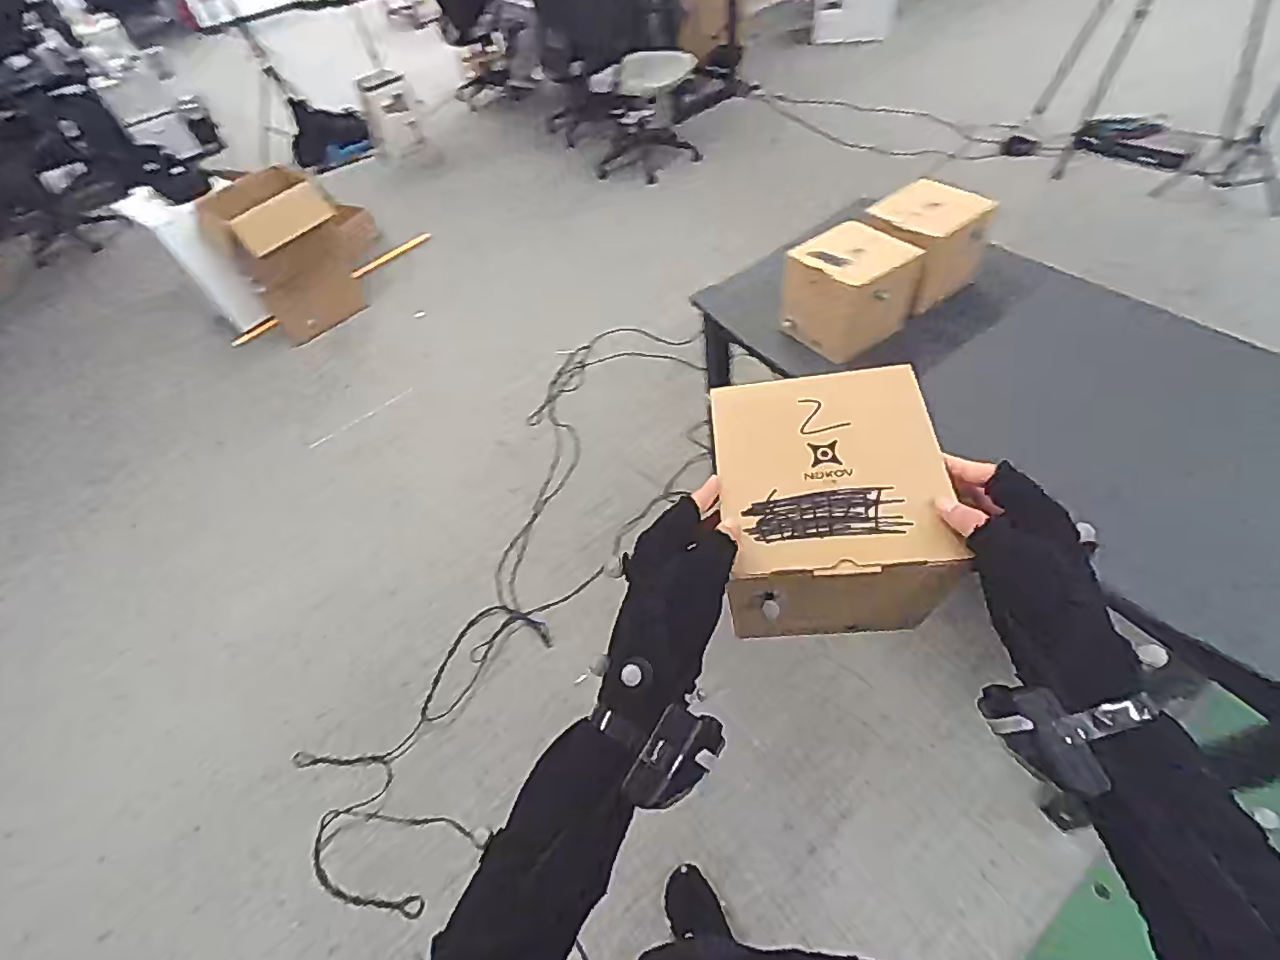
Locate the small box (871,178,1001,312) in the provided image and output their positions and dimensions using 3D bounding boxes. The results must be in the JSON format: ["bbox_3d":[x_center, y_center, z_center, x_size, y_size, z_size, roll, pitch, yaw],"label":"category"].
[{"bbox_3d":[0.575,-0.475,1.098,0.179,0.176,0.168,-32,54,-15],"label":"small box"}]

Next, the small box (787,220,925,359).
[{"bbox_3d":[0.401,-0.362,1.039,0.179,0.176,0.168,-30,54,-16],"label":"small box"}]
